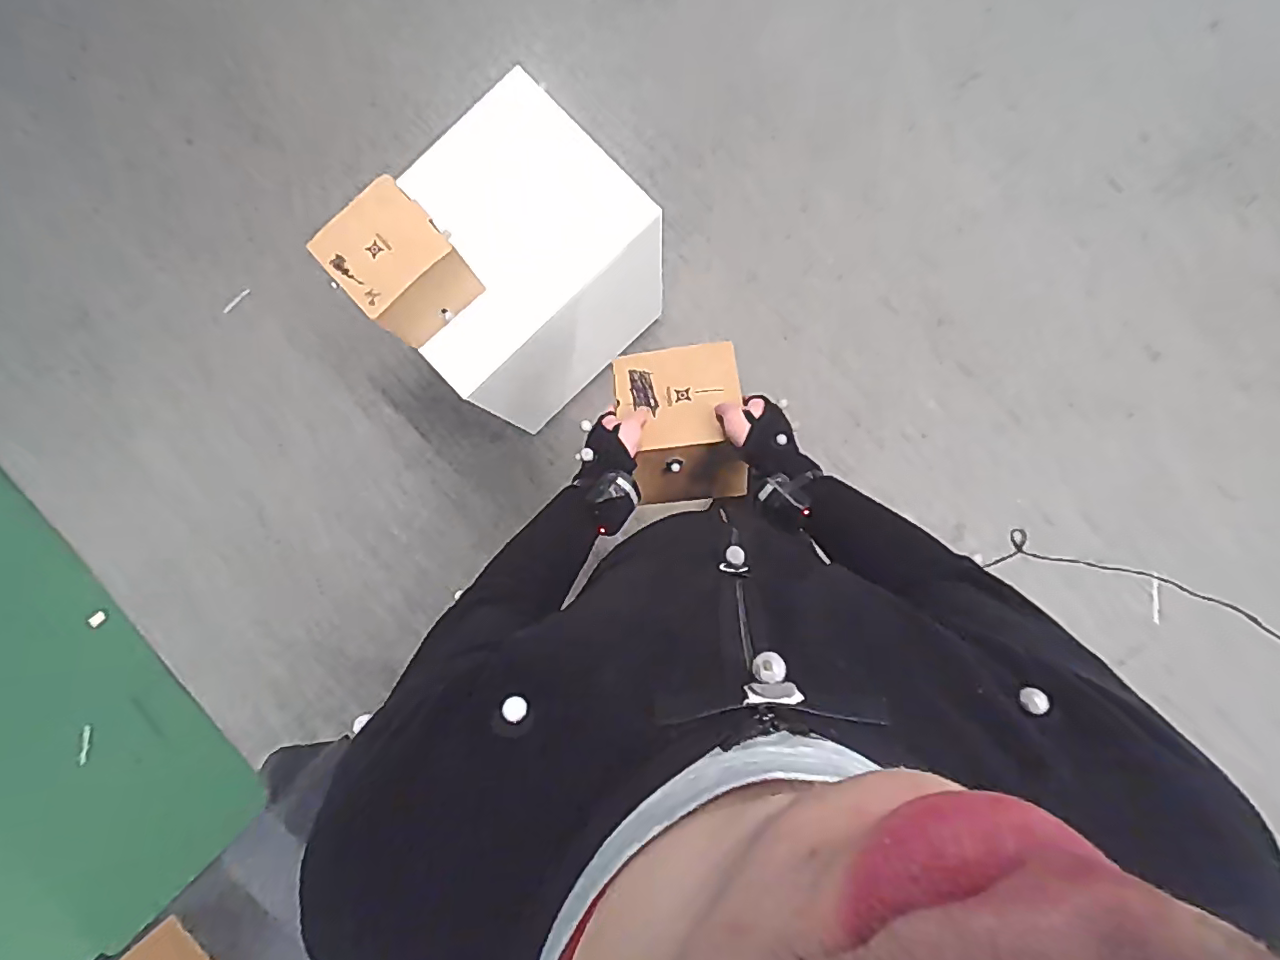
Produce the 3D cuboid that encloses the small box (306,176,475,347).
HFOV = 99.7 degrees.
[{"bbox_3d":[-0.406,-0.361,0.923,0.179,0.176,0.168,-42,87,-1],"label":"small box"}]

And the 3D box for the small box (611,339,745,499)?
[{"bbox_3d":[0.059,-0.082,0.802,0.179,0.176,0.168,-6,62,6],"label":"small box"}]

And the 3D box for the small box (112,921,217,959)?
[{"bbox_3d":[-0.740,0.790,0.772,0.168,0.176,0.179,-43,88,2],"label":"small box"}]
